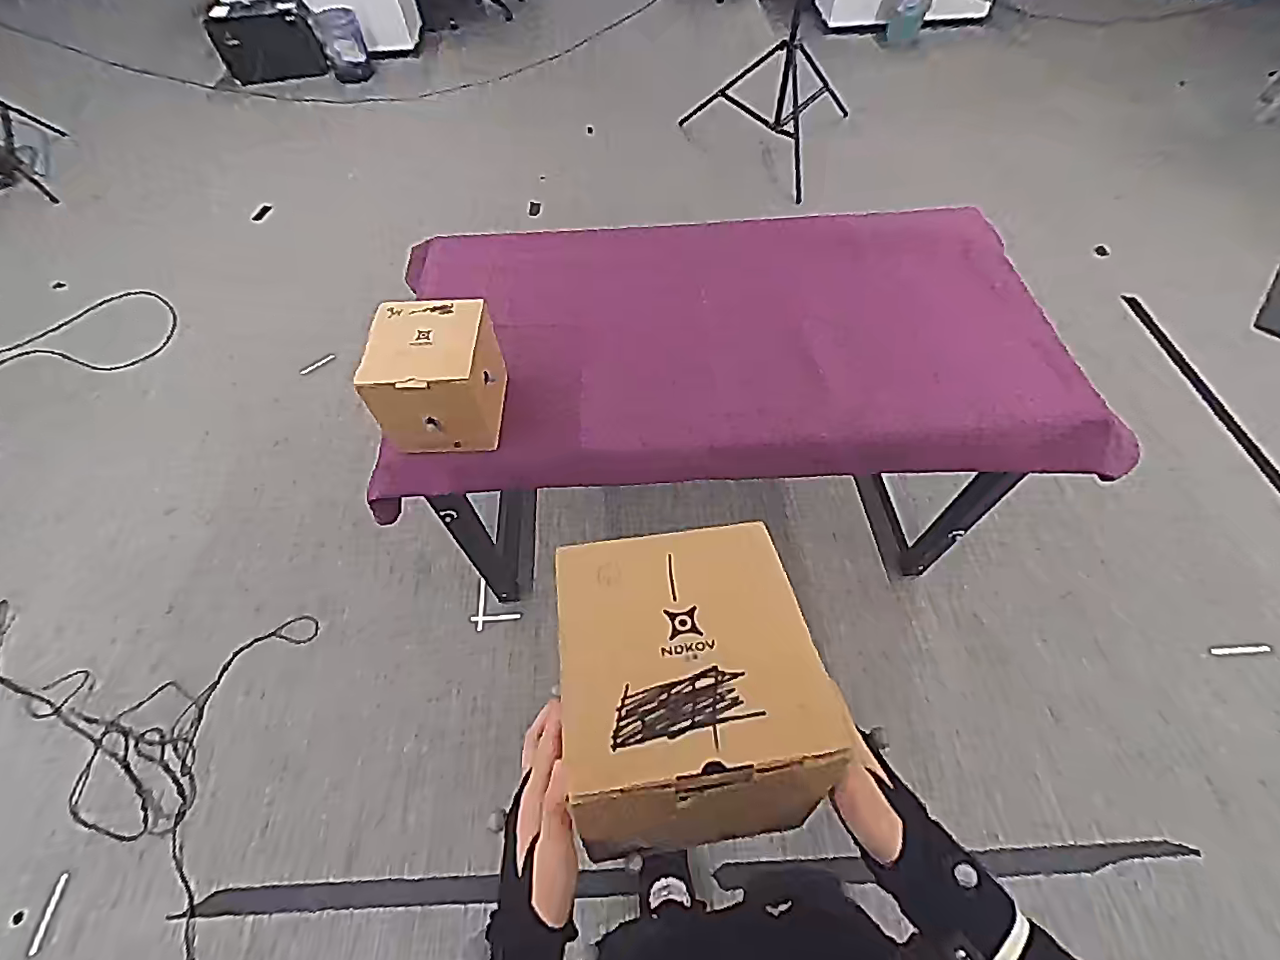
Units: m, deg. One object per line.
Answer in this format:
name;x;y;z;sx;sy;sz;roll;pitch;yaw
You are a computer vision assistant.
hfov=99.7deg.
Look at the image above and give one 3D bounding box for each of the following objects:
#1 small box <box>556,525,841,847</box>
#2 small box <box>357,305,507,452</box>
small box;0.029;0.161;0.418;0.168;0.176;0.179;-6;44;-5
small box;-0.320;-0.156;0.872;0.168;0.176;0.179;-2;58;0
